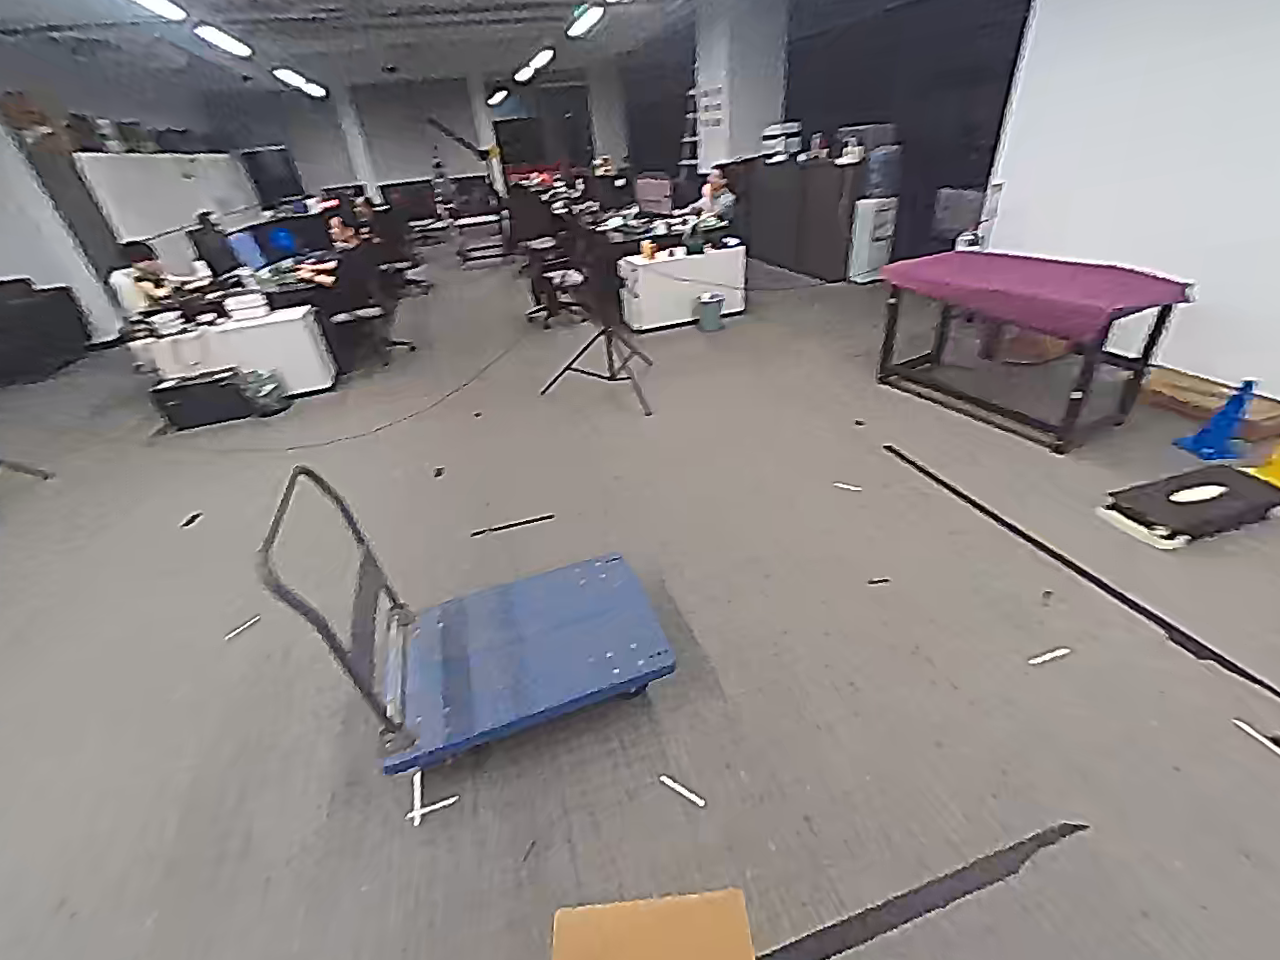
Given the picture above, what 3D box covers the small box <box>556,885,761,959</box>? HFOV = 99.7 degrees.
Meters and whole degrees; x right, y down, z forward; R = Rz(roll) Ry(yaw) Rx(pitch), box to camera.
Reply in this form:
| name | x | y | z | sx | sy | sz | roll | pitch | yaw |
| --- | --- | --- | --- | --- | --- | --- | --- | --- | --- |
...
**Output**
| name | x | y | z | sx | sy | sz | roll | pitch | yaw |
| --- | --- | --- | --- | --- | --- | --- | --- | --- | --- |
| small box | 0.022 | 0.469 | 0.436 | 0.168 | 0.176 | 0.179 | -7 | 34 | -1 |
